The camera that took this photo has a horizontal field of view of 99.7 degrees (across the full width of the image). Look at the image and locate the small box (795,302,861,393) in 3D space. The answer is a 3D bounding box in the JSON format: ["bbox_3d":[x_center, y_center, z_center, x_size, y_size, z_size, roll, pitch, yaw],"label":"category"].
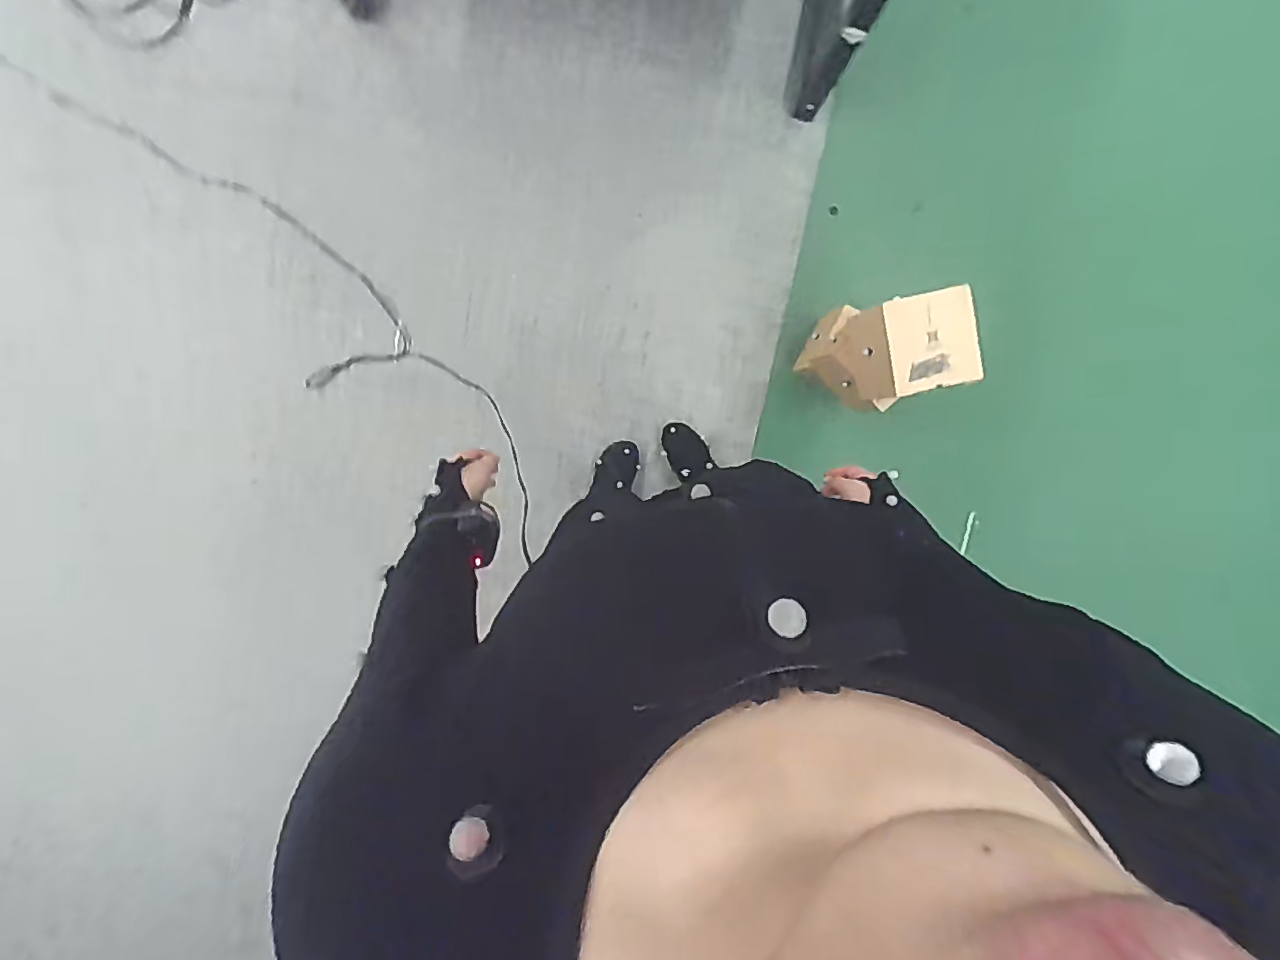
[{"bbox_3d":[0.523,-0.323,1.376,0.179,0.176,0.168,27,96,-5],"label":"small box"}]

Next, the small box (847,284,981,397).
[{"bbox_3d":[0.524,-0.262,1.054,0.168,0.176,0.179,-11,97,1],"label":"small box"}]

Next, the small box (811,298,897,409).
[{"bbox_3d":[0.517,-0.274,1.218,0.168,0.176,0.179,-41,97,5],"label":"small box"}]
